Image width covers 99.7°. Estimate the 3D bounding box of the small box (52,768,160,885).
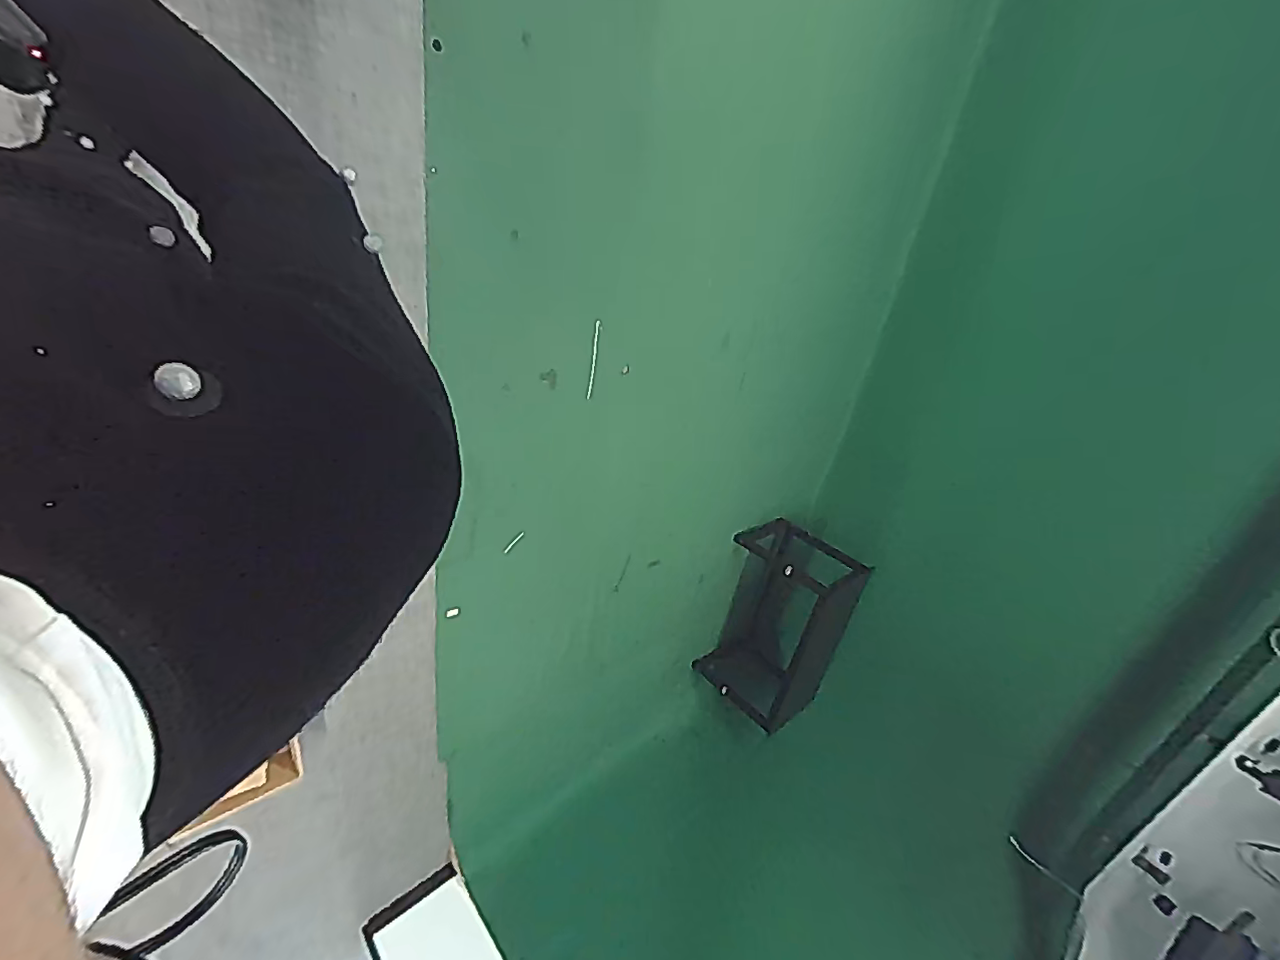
[{"bbox_3d":[-1.472,0.950,1.496,0.179,0.176,0.168,-20,128,-38],"label":"small box"}]
